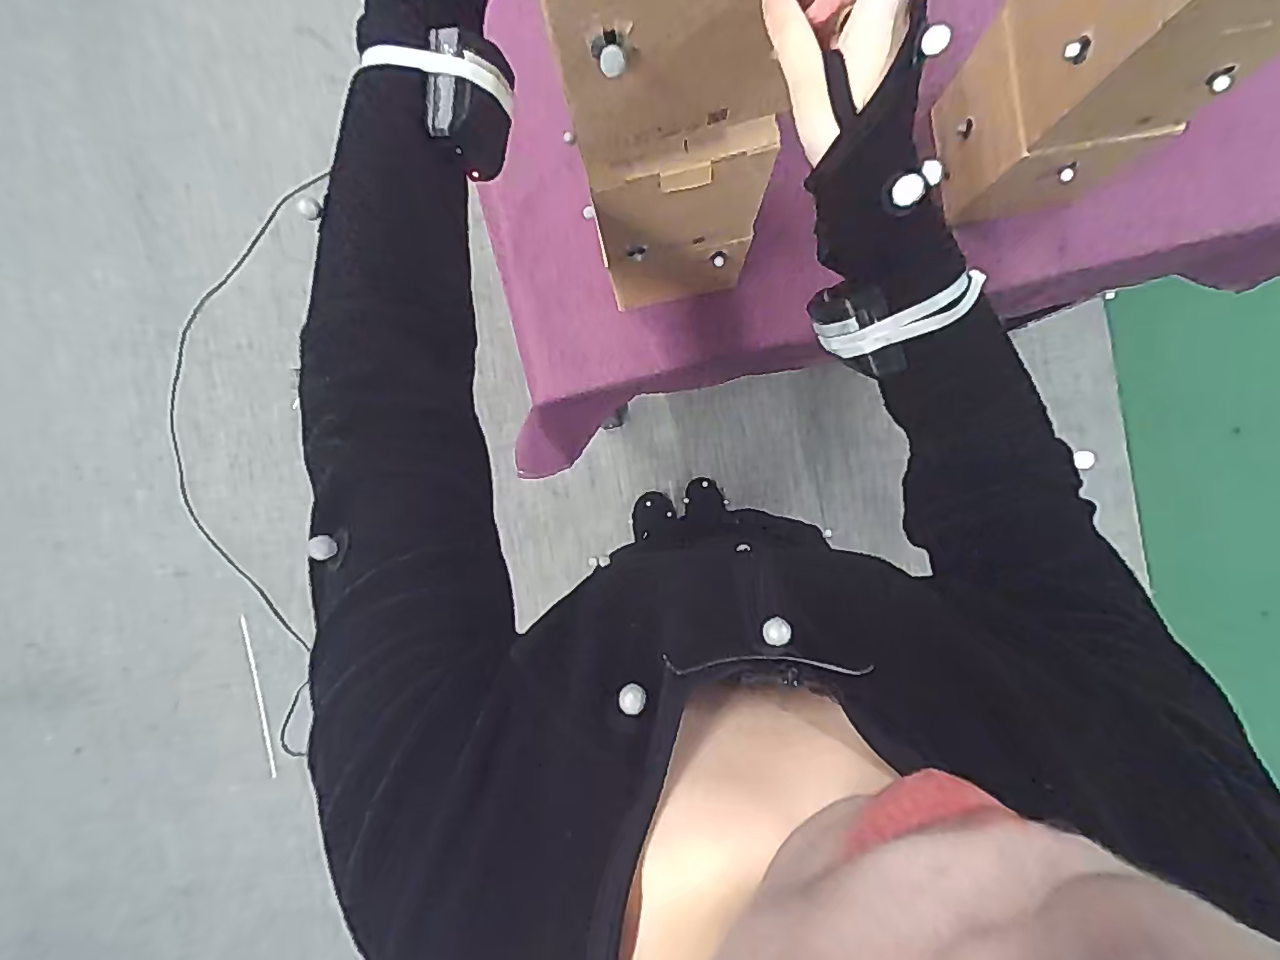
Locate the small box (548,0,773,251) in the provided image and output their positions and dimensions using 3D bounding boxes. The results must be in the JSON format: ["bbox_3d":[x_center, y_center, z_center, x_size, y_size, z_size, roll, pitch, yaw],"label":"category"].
[{"bbox_3d":[0.021,-0.349,0.534,0.168,0.176,0.179,-12,89,3],"label":"small box"}]

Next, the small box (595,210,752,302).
[{"bbox_3d":[0.034,-0.347,0.699,0.179,0.176,0.168,-12,90,3],"label":"small box"}]

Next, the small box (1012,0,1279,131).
[{"bbox_3d":[0.486,-0.459,0.502,0.168,0.176,0.179,-7,90,3],"label":"small box"}]

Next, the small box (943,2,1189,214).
[{"bbox_3d":[0.498,-0.453,0.664,0.179,0.176,0.168,-7,91,4],"label":"small box"}]
